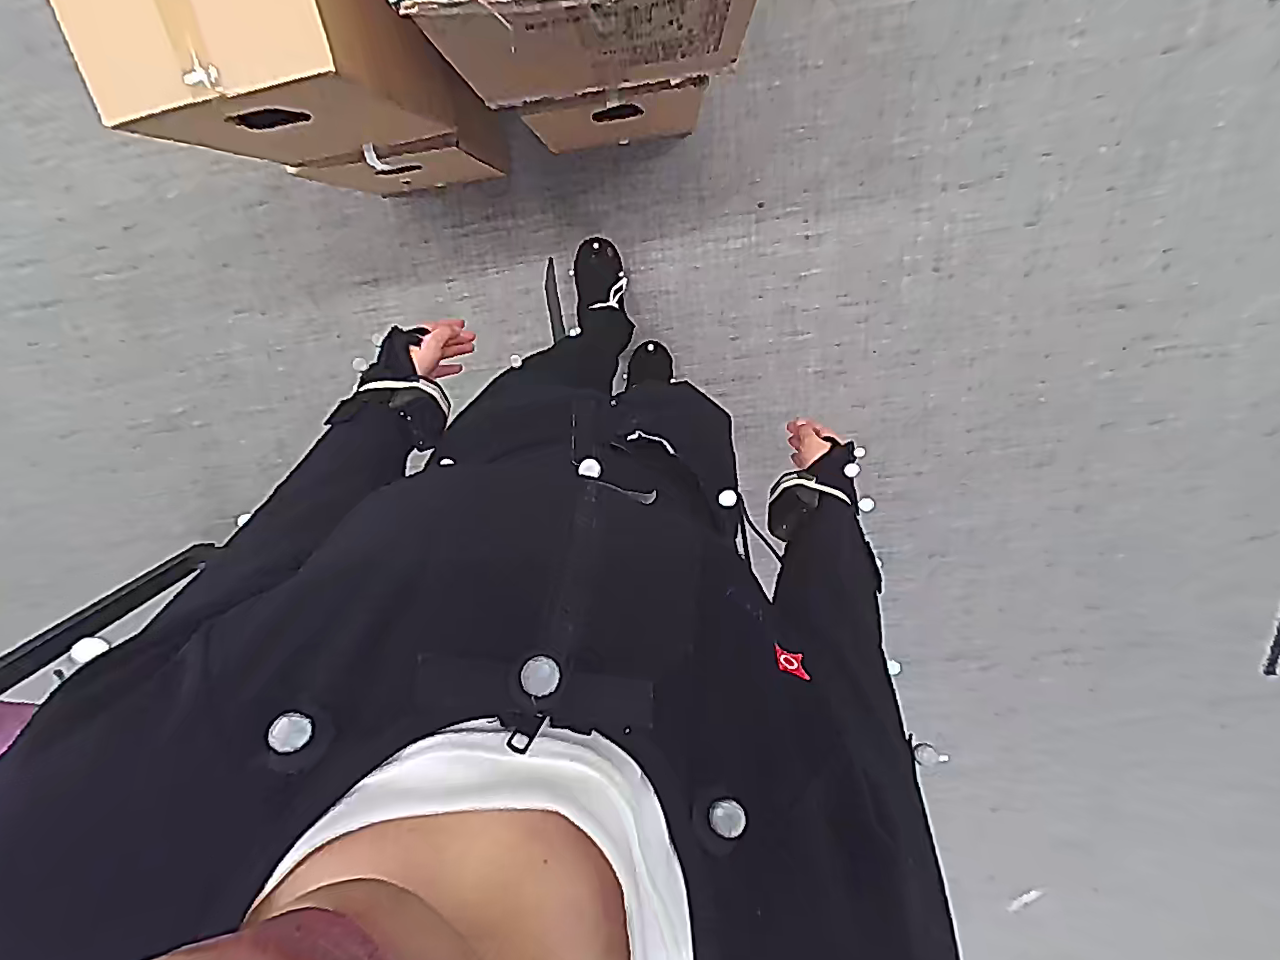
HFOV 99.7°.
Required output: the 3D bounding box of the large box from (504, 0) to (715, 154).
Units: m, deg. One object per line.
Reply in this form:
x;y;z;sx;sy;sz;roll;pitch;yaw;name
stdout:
-0.058;-0.843;0.935;0.320;0.320;0.408;-7;111;6;large box
